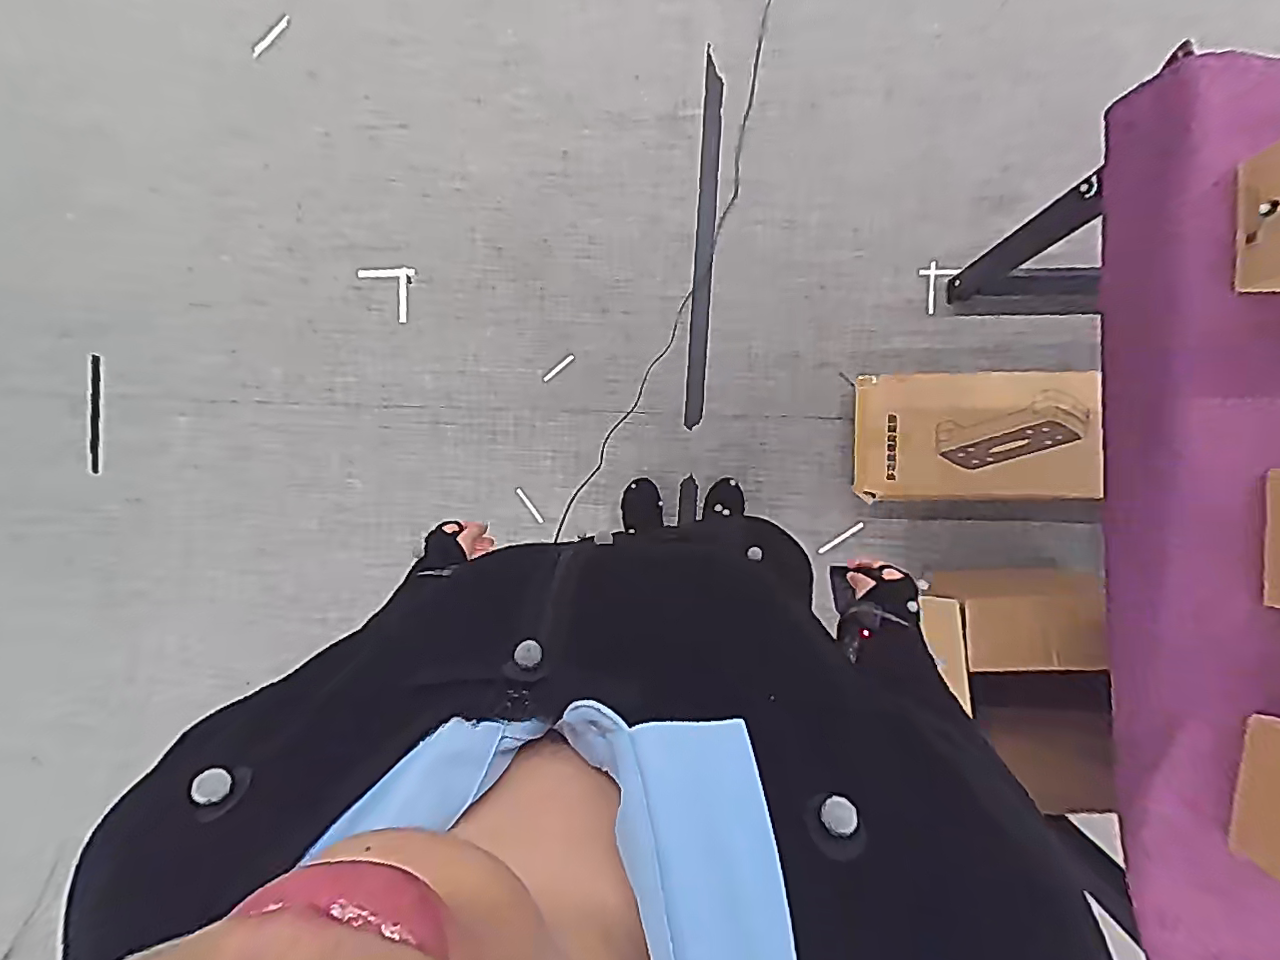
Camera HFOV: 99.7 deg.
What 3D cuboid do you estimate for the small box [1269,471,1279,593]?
[{"bbox_3d":[0.868,0.075,0.596,0.168,0.176,0.179,0,91,3],"label":"small box"}]

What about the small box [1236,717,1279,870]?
[{"bbox_3d":[0.841,0.393,0.604,0.168,0.176,0.179,8,92,5],"label":"small box"}]
